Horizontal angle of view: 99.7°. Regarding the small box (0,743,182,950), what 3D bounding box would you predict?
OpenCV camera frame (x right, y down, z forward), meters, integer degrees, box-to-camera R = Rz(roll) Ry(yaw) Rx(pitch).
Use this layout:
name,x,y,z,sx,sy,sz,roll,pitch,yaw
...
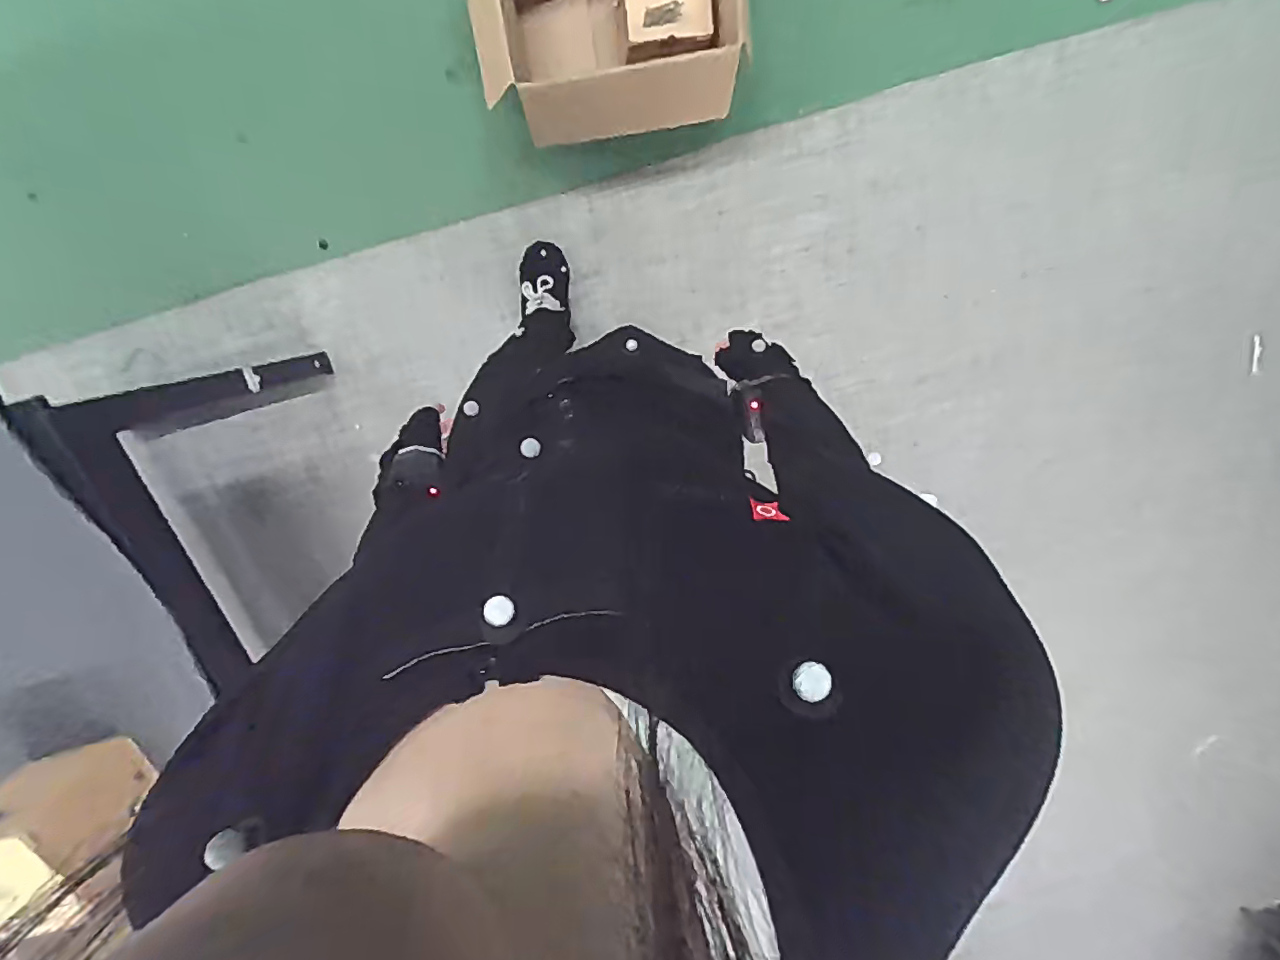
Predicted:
name,x,y,z,sx,sy,sz,roll,pitch,yaw
small box,-0.839,0.521,0.783,0.179,0.176,0.168,-17,109,2
